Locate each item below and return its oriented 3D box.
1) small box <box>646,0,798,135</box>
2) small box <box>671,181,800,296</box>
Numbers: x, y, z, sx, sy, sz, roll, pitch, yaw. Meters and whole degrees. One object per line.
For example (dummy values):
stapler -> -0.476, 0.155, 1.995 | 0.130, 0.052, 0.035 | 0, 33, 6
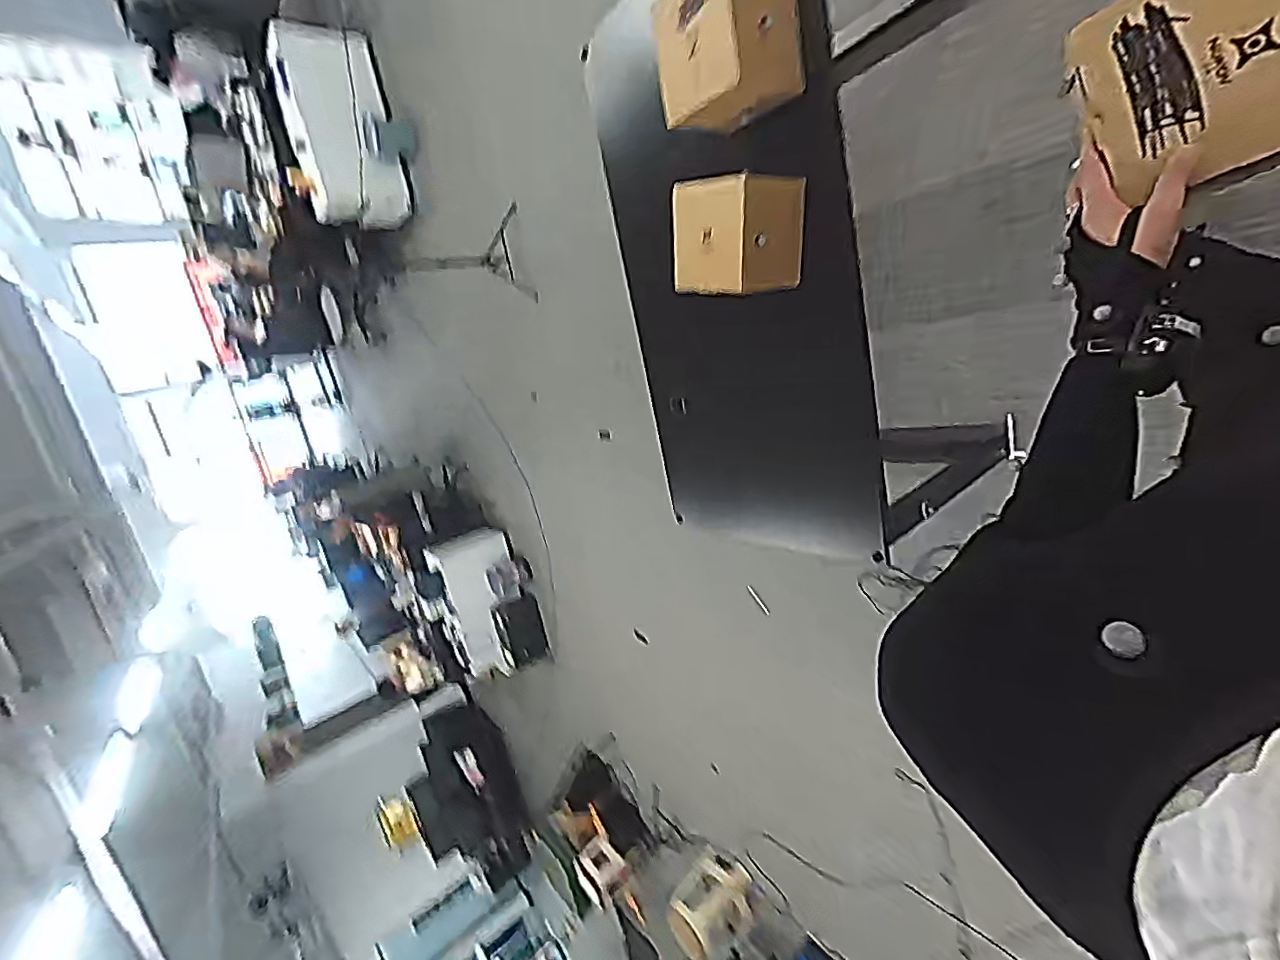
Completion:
small box -> 0.138, -0.699, 0.892 | 0.168, 0.176, 0.179 | 8, 115, 52
small box -> 0.175, -0.437, 0.986 | 0.168, 0.176, 0.179 | 23, 126, 46
